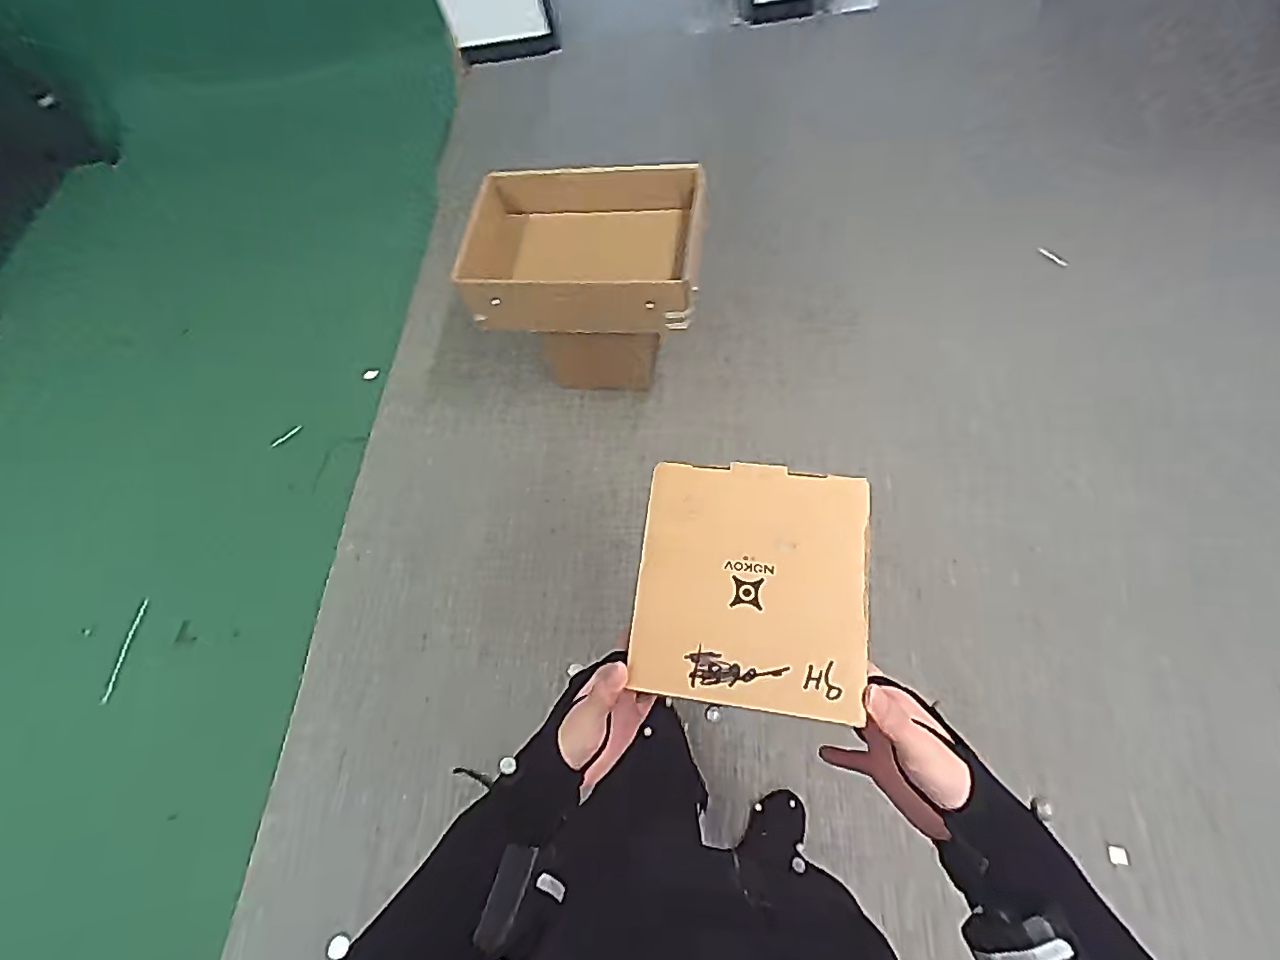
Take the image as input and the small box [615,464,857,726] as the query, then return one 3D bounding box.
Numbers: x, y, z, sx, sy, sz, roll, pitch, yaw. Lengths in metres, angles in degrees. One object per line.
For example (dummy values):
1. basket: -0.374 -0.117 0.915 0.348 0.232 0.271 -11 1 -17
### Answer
1. small box: 0.086 0.102 0.473 0.168 0.176 0.179 4 71 12
